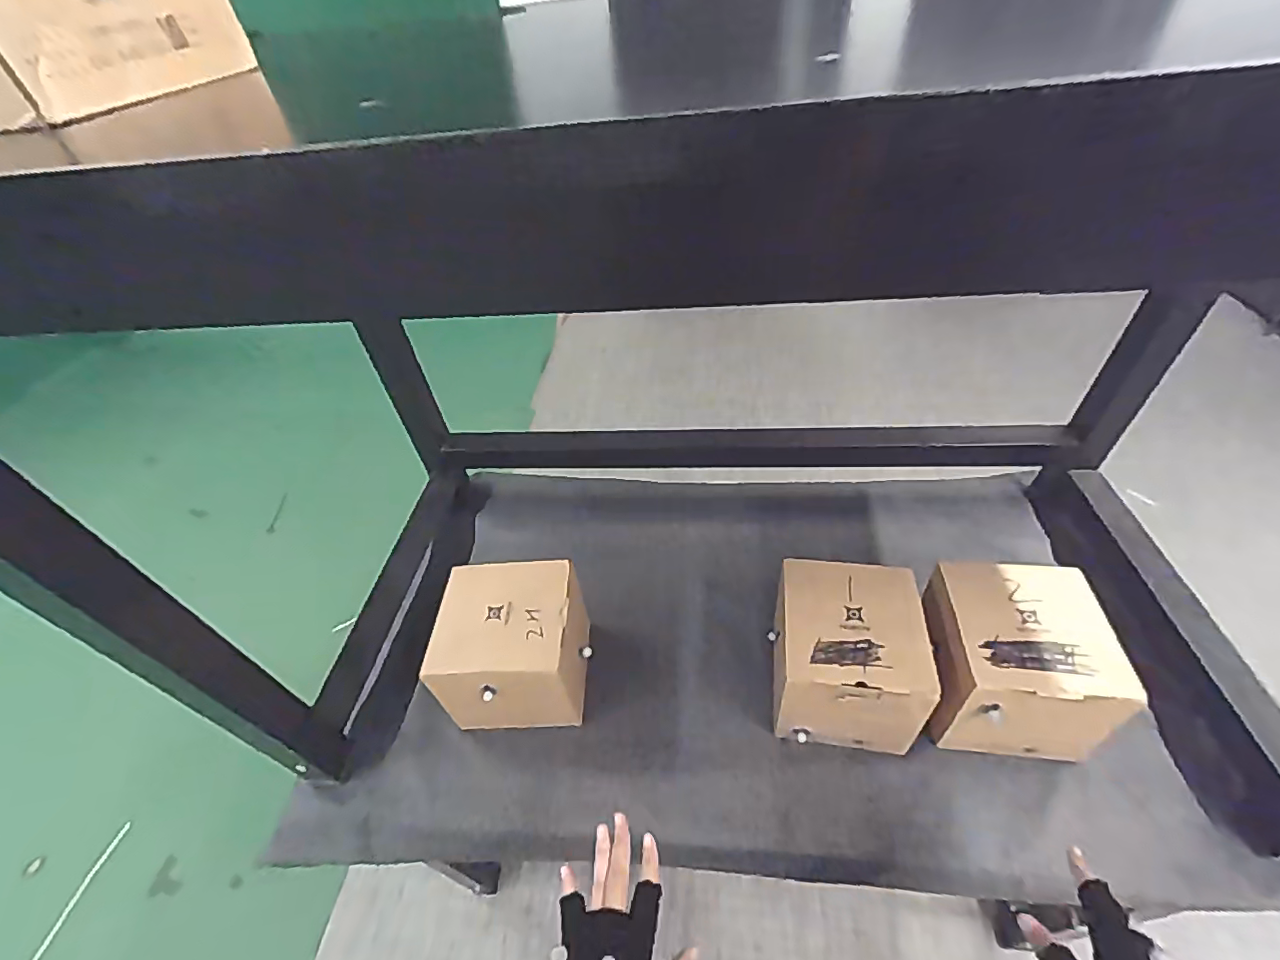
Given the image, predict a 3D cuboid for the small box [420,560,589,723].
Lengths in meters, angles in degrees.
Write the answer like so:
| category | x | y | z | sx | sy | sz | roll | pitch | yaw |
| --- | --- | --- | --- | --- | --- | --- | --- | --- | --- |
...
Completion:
| category | x | y | z | sx | sy | sz | roll | pitch | yaw |
| --- | --- | --- | --- | --- | --- | --- | --- | --- | --- |
| small box | -0.177 | 0.232 | 0.770 | 0.179 | 0.176 | 0.168 | -3 | 45 | 4 |
